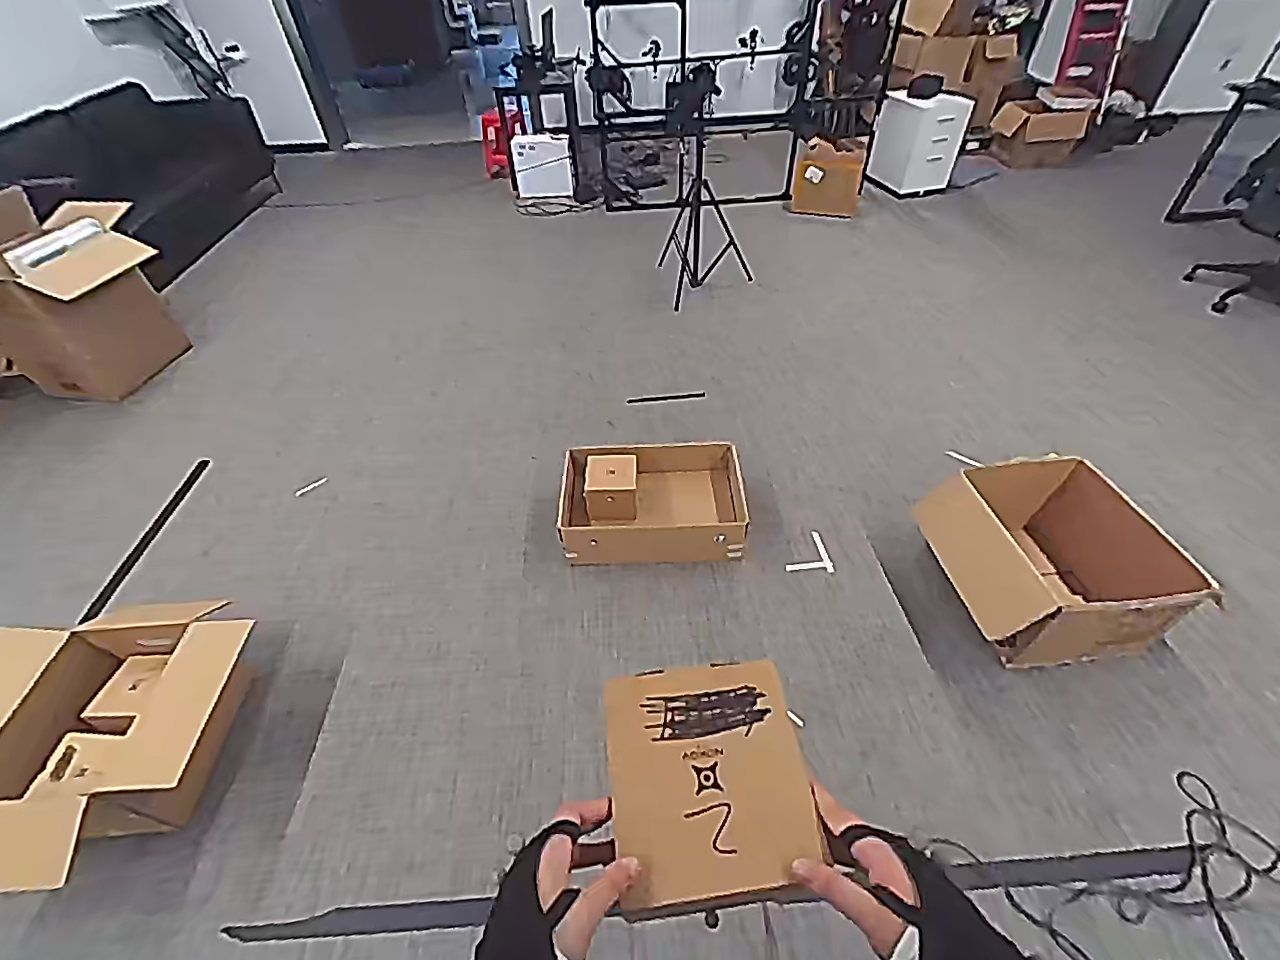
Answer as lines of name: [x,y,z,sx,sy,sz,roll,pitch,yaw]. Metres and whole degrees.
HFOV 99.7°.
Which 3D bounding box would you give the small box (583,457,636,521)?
small box: [-0.104,0.035,1.929,0.179,0.176,0.168,-1,47,0]
